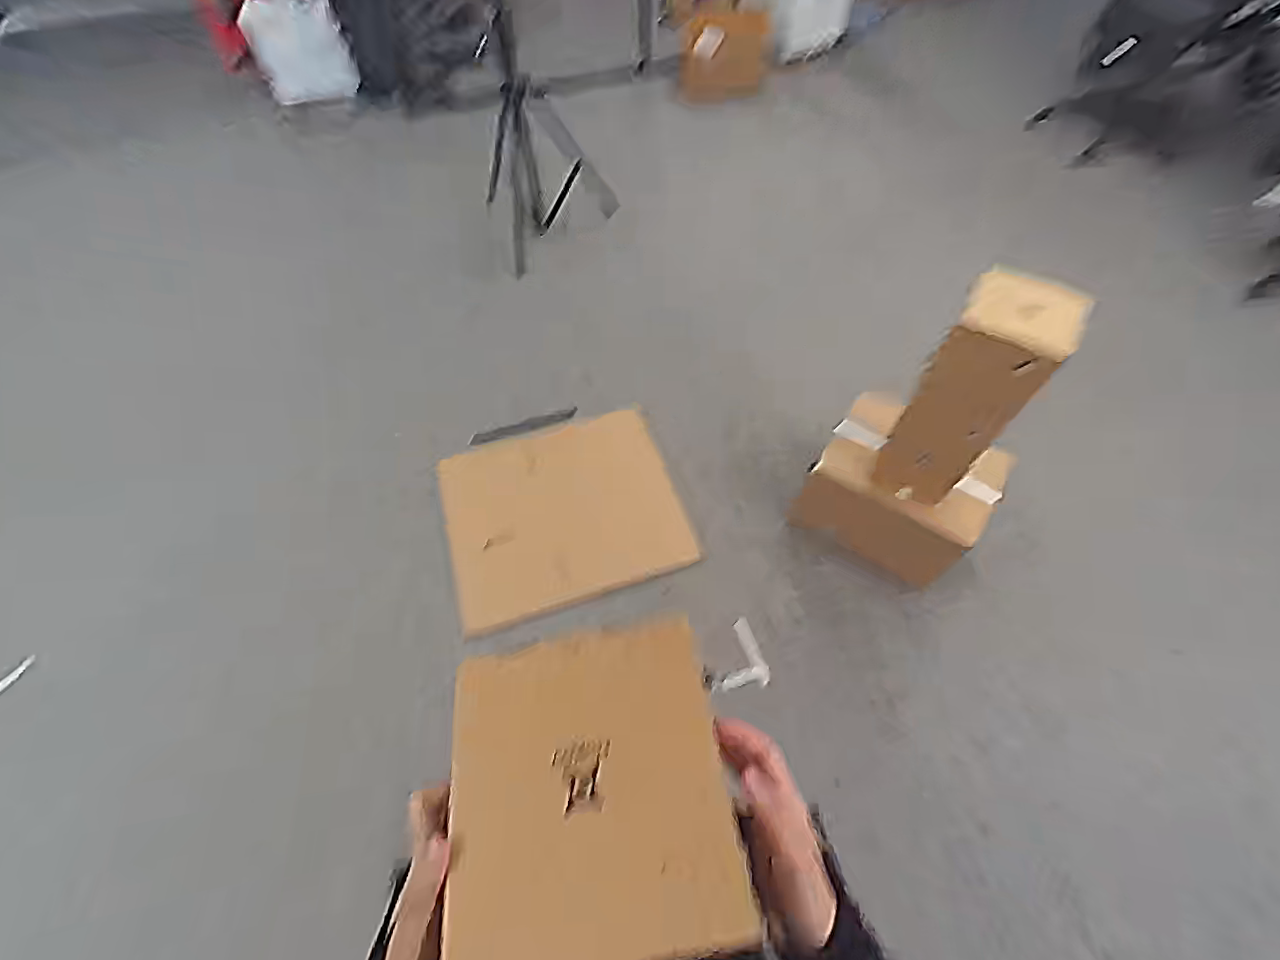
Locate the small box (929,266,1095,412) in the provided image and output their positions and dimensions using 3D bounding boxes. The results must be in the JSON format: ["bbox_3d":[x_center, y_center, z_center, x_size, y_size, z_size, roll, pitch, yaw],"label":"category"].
[{"bbox_3d":[0.675,-0.252,0.997,0.179,0.176,0.168,29,63,18],"label":"small box"}]

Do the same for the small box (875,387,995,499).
[{"bbox_3d":[0.687,-0.081,1.278,0.179,0.176,0.168,28,64,17],"label":"small box"}]

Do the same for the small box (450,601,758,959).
[{"bbox_3d":[-0.018,0.215,0.384,0.168,0.176,0.179,-14,52,1],"label":"small box"}]
